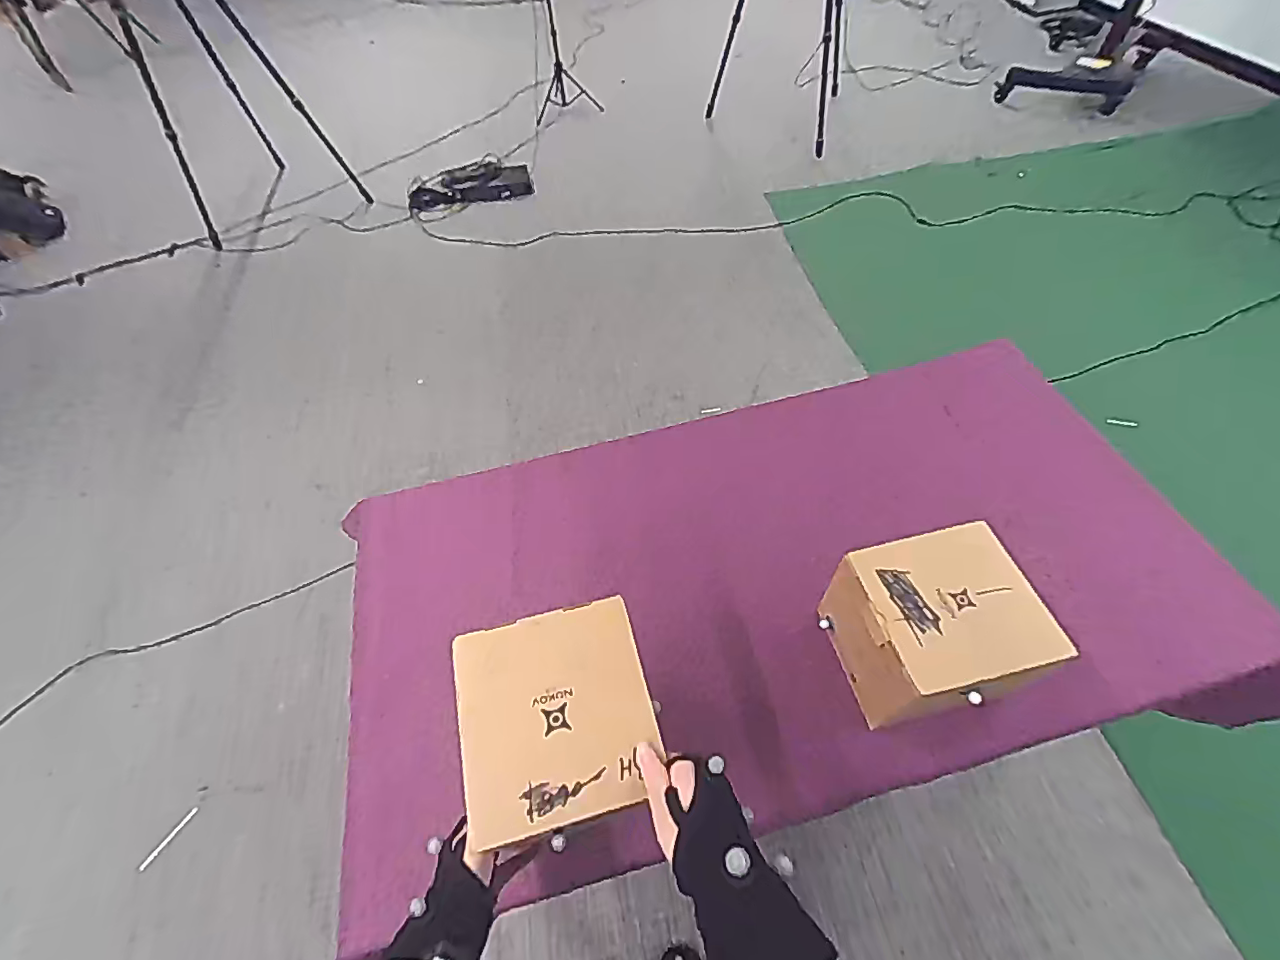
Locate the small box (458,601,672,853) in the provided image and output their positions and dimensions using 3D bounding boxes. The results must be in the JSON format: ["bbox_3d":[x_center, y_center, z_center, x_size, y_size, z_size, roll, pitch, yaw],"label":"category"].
[{"bbox_3d":[-0.073,0.247,0.536,0.168,0.176,0.179,-12,58,-8],"label":"small box"}]

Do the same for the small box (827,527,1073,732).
[{"bbox_3d":[0.341,0.183,0.645,0.179,0.176,0.168,-12,55,-5],"label":"small box"}]
